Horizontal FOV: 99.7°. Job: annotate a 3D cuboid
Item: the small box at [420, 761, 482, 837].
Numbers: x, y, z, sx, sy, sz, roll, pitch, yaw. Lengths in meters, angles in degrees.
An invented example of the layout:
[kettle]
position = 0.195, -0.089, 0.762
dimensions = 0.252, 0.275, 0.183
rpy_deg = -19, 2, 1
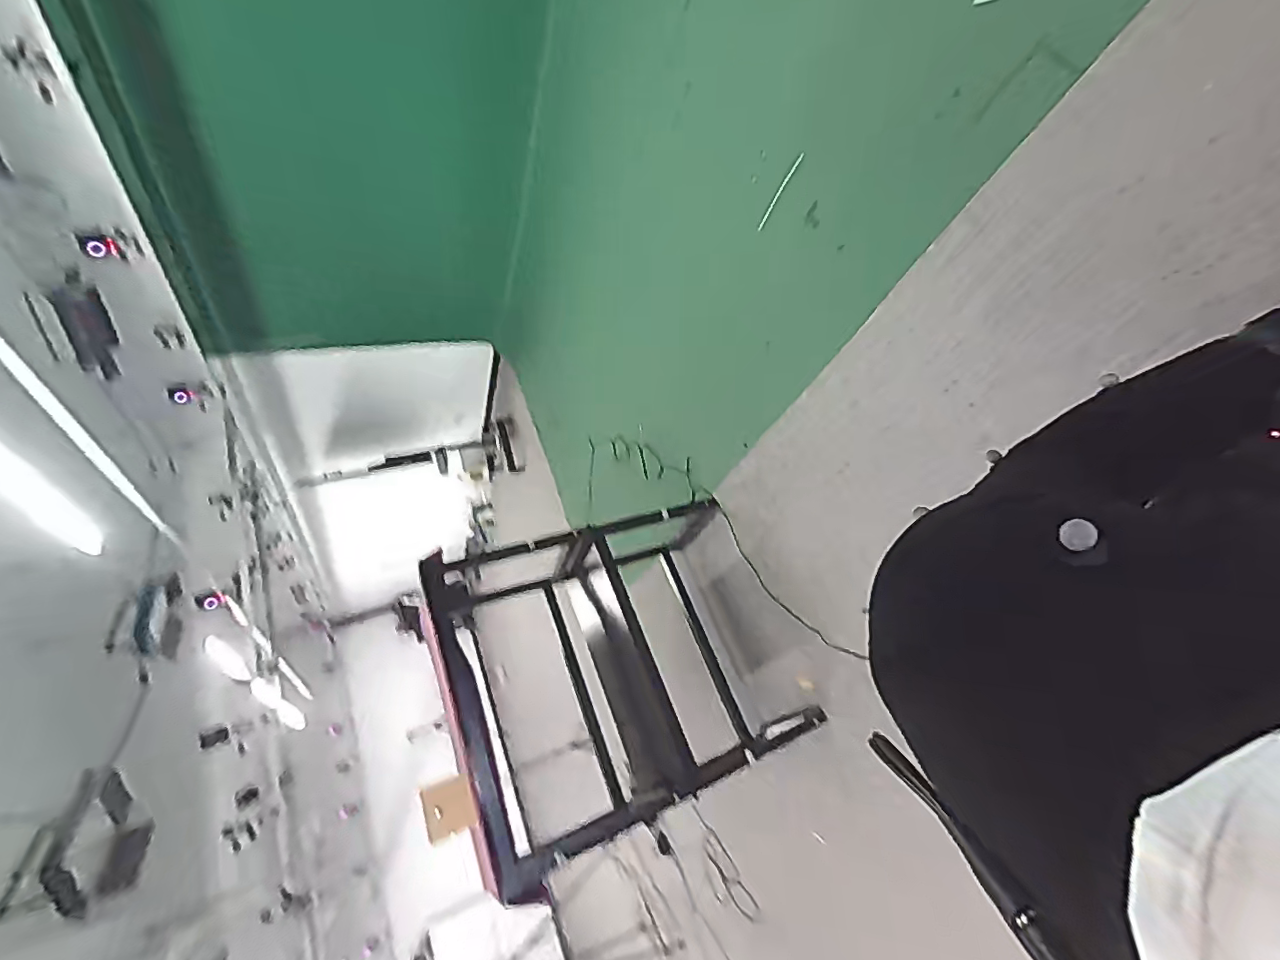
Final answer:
[small box]
position = -0.655, 1.098, 1.873
dimensions = 0.179, 0.176, 0.168
rpy_deg = 69, 152, 20
